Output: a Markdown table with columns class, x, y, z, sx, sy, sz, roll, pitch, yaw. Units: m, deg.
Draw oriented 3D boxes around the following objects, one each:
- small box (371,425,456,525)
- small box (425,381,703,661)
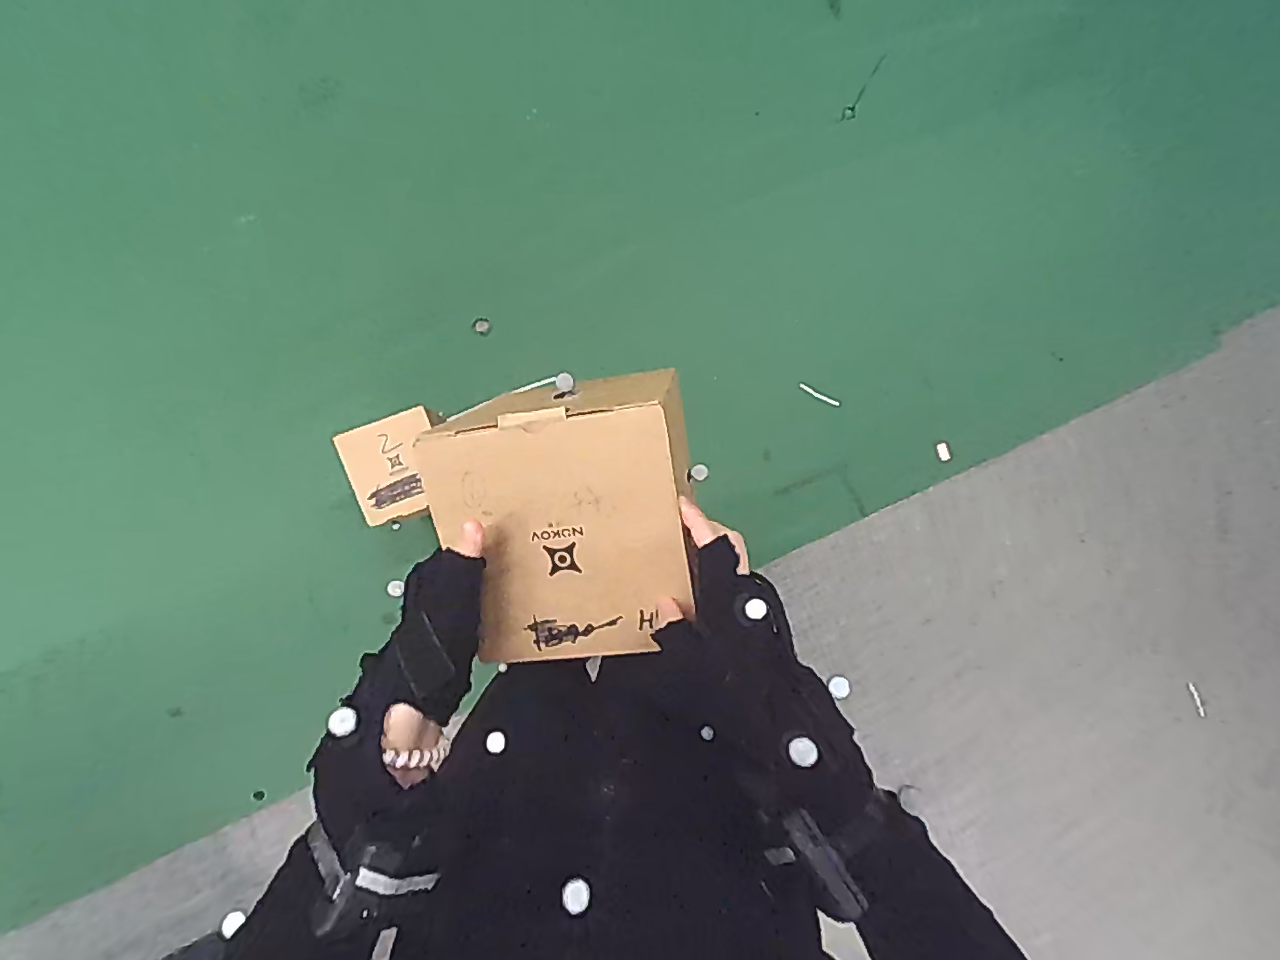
| class | x | y | z | sx | sy | sz | roll | pitch | yaw |
| --- | --- | --- | --- | --- | --- | --- | --- | --- | --- |
| small box | -0.465 | -0.011 | 1.213 | 0.168 | 0.176 | 0.179 | -19 | 92 | -7 |
| small box | -0.042 | 0.020 | 0.447 | 0.168 | 0.176 | 0.179 | -8 | 108 | 10 |
